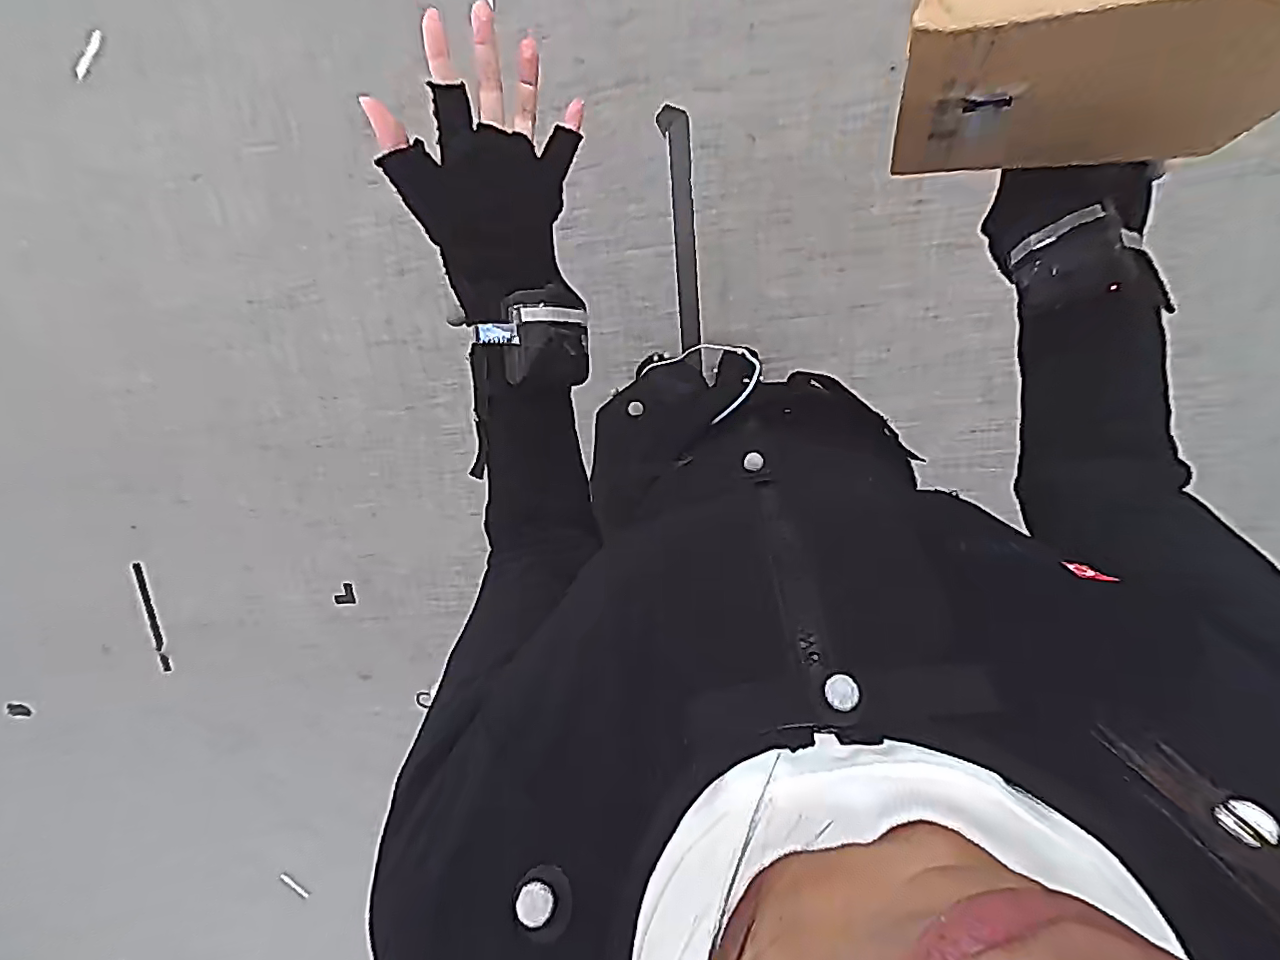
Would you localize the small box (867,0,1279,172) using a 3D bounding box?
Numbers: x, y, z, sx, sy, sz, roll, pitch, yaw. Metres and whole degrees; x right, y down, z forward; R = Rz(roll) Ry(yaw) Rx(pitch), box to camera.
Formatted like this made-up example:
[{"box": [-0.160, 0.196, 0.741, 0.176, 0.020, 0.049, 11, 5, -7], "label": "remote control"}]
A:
[{"box": [0.208, -0.268, 0.251, 0.176, 0.168, 0.179, 8, 103, 22], "label": "small box"}]
